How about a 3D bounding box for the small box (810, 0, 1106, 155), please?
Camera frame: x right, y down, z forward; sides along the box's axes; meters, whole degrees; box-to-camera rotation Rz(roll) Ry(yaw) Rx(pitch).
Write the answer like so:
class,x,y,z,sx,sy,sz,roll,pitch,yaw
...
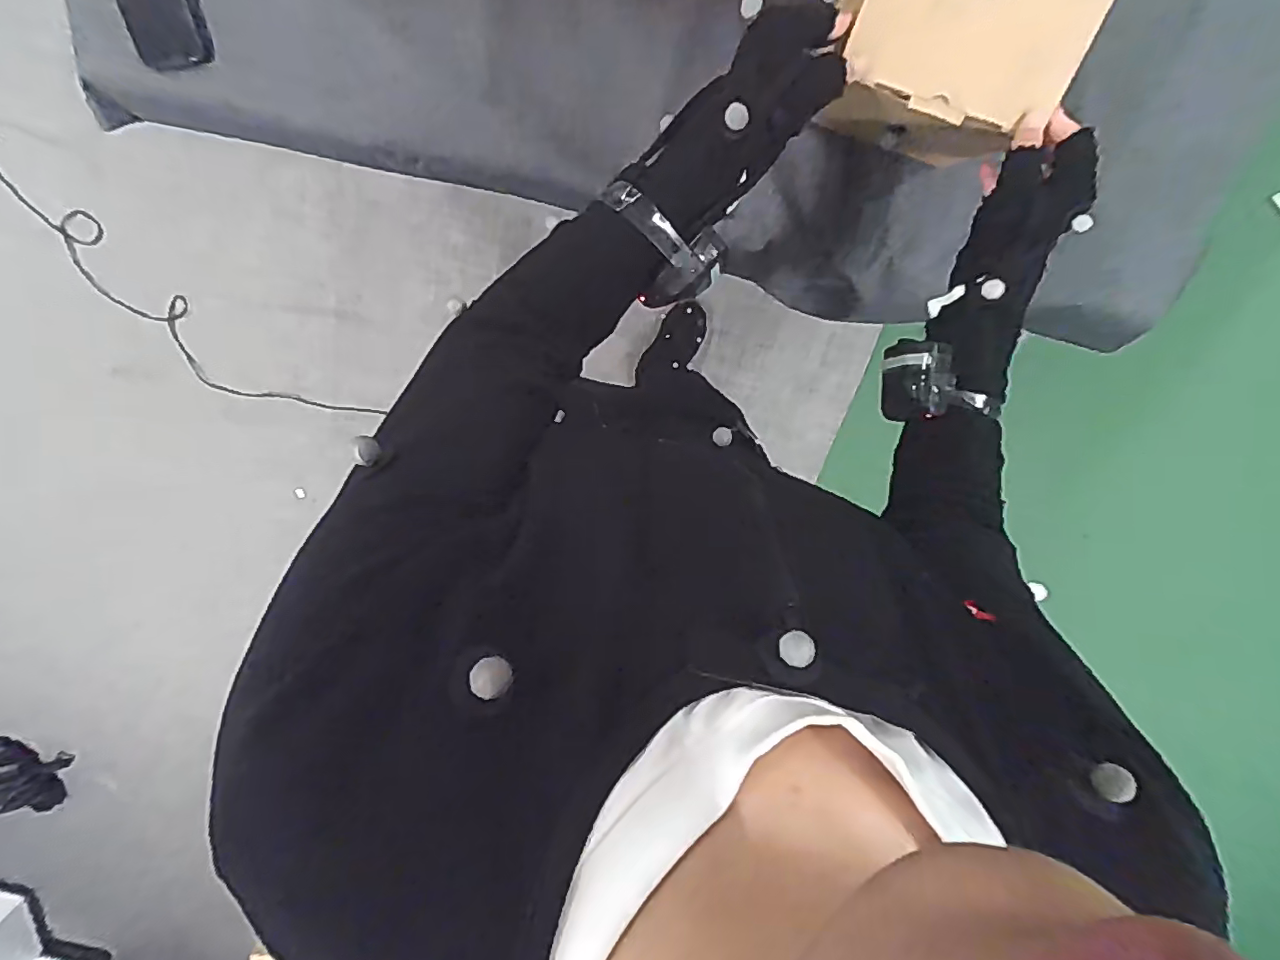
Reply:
class,x,y,z,sx,sy,sz,roll,pitch,yaw
small box,0.257,-0.394,0.449,0.168,0.176,0.179,17,116,-3
